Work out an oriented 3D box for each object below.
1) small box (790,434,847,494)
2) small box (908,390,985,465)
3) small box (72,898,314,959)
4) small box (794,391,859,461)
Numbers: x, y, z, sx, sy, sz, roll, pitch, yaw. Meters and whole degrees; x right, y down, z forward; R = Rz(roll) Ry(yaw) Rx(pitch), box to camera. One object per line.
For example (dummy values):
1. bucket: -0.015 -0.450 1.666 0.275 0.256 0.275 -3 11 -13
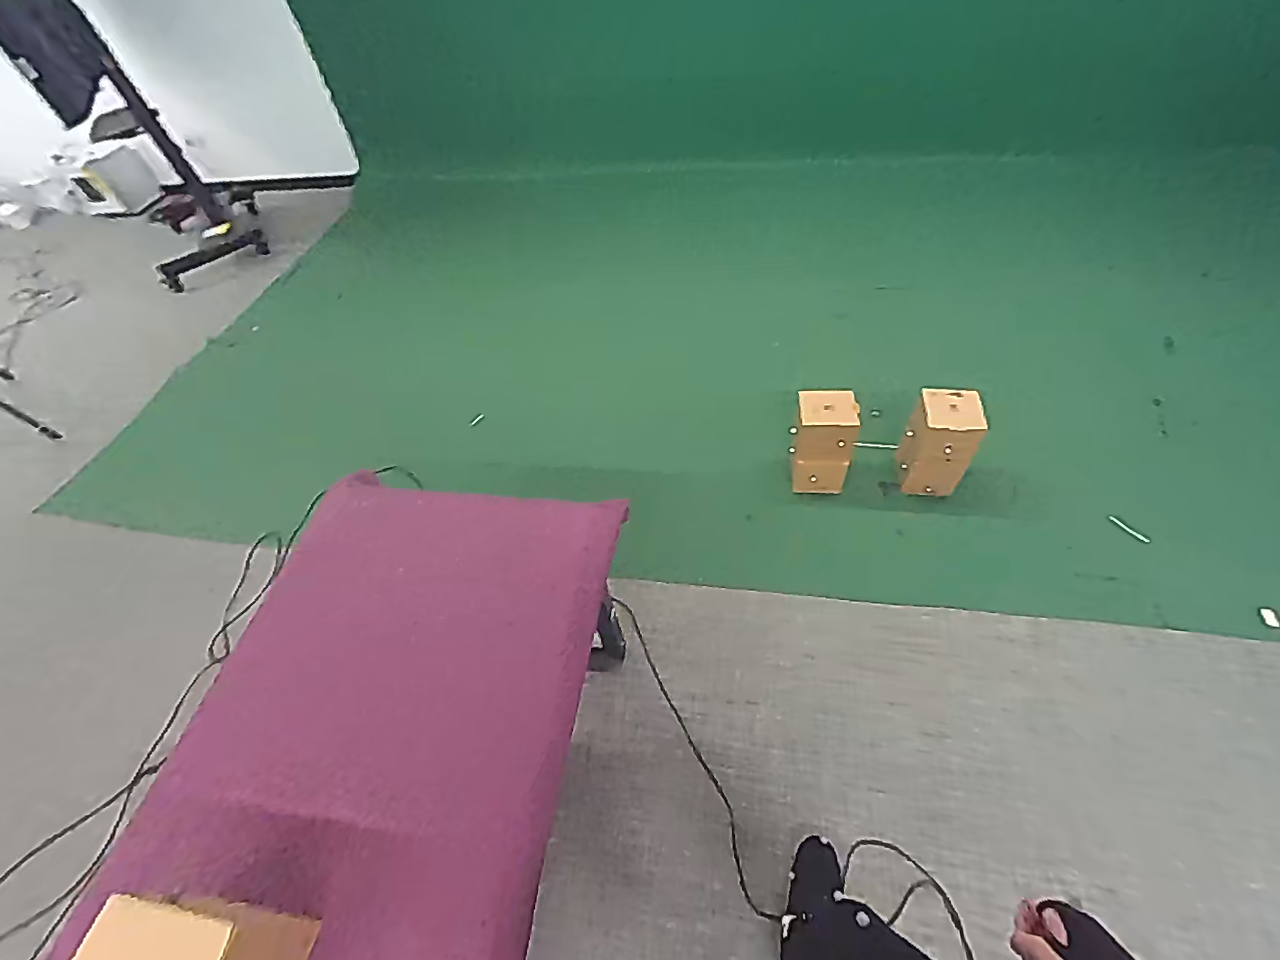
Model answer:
1. small box: 0.630 -0.064 1.921 0.168 0.176 0.179 1 51 9
2. small box: 0.980 -0.168 1.744 0.168 0.176 0.179 6 54 11
3. small box: -0.526 0.597 0.613 0.179 0.176 0.168 4 53 10
4. small box: 0.616 -0.178 1.805 0.179 0.176 0.168 1 51 9
